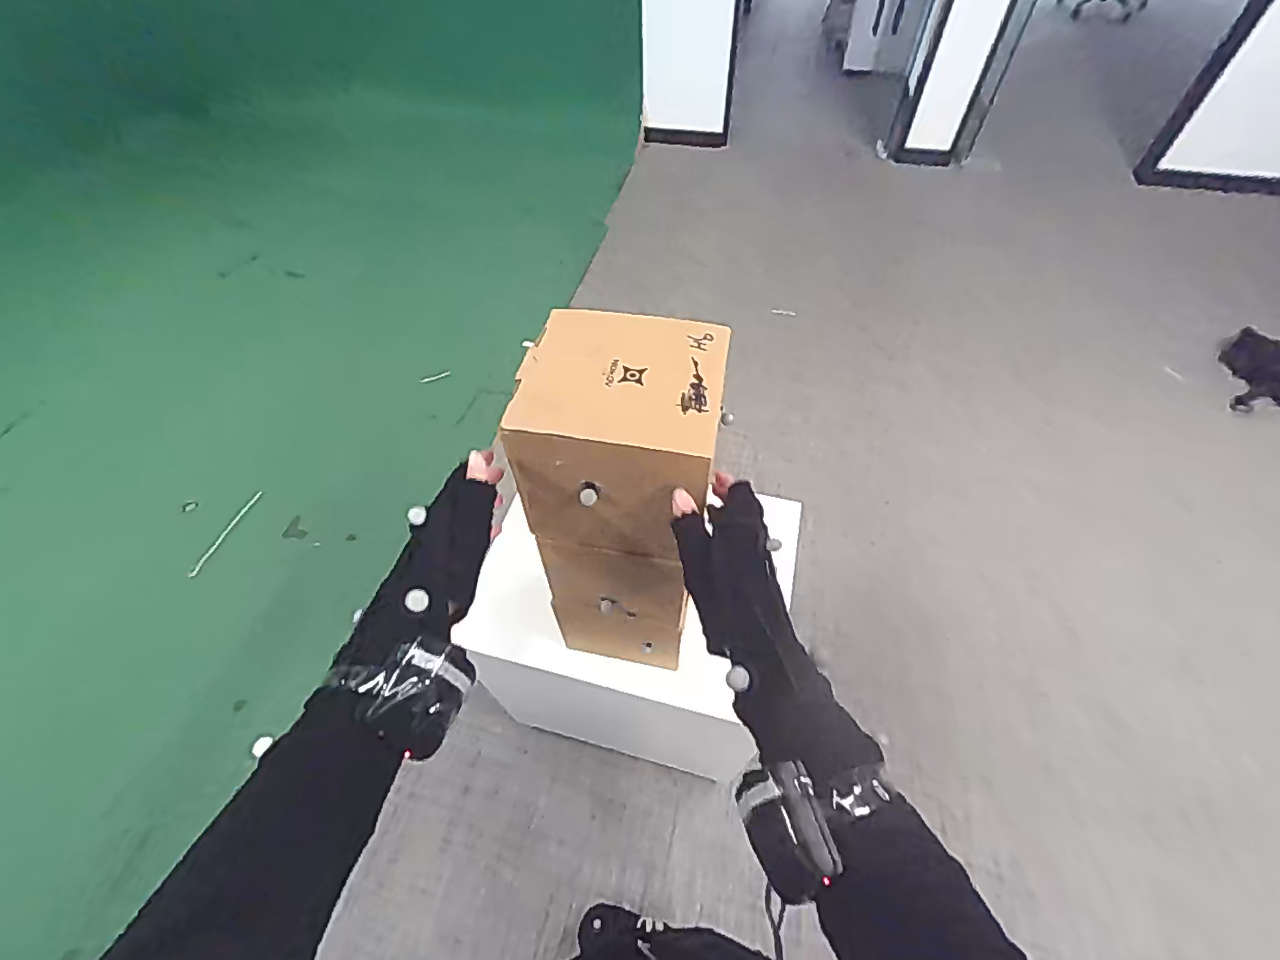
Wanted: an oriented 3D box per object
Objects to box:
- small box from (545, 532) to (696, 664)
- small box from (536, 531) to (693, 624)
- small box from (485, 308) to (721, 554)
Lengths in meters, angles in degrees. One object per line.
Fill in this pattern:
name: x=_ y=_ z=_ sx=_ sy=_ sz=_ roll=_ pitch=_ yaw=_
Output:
small box: x=-0.018 y=0.155 z=0.790 sx=0.179 sy=0.176 sz=0.168 roll=8 pitch=54 yaw=9
small box: x=-0.016 y=0.052 z=0.662 sx=0.168 sy=0.176 sz=0.179 roll=7 pitch=52 yaw=7
small box: x=-0.022 y=-0.044 z=0.529 sx=0.179 sy=0.176 sz=0.168 roll=8 pitch=54 yaw=8
